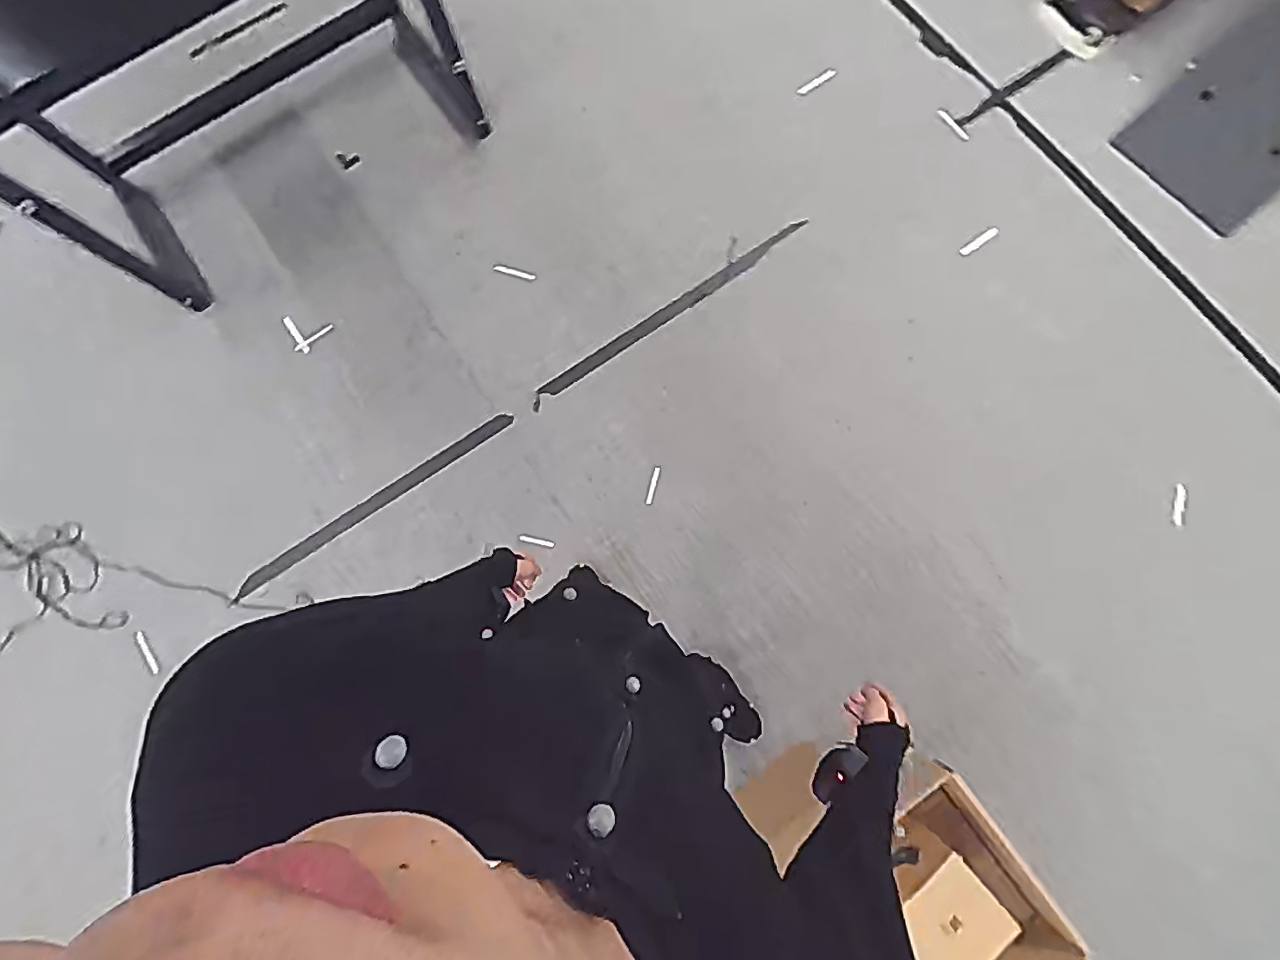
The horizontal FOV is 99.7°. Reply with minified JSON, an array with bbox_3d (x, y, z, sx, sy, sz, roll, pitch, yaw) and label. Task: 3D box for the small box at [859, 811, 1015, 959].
[{"bbox_3d":[0.550,0.790,1.037,0.179,0.176,0.168,-39,83,-6],"label":"small box"}]
